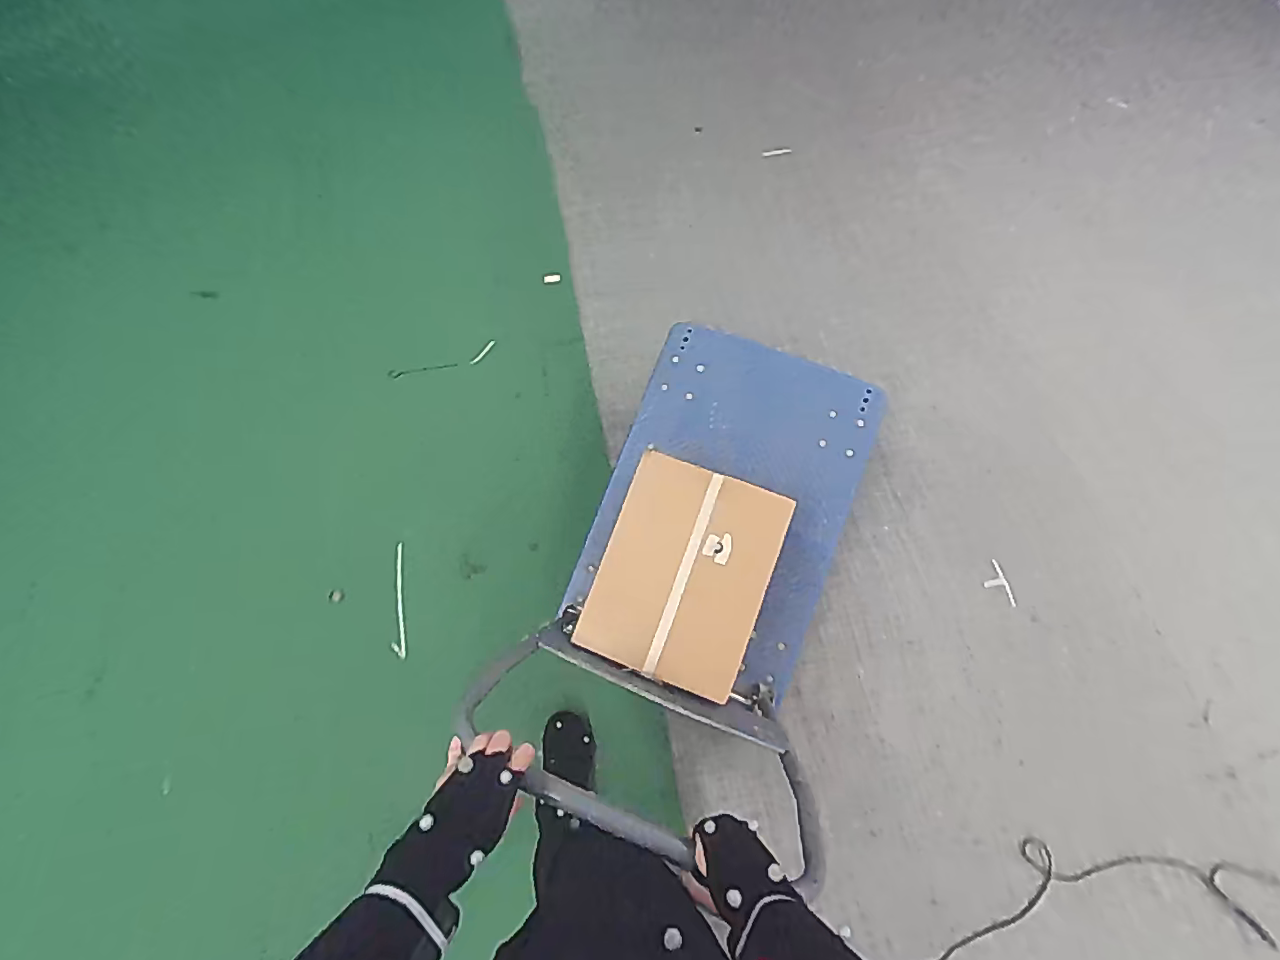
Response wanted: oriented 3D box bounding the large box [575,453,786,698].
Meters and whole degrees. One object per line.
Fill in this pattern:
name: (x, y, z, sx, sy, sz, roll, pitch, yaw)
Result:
large box: (0.094, 0.205, 1.198, 0.320, 0.320, 0.408, 20, 82, 8)
